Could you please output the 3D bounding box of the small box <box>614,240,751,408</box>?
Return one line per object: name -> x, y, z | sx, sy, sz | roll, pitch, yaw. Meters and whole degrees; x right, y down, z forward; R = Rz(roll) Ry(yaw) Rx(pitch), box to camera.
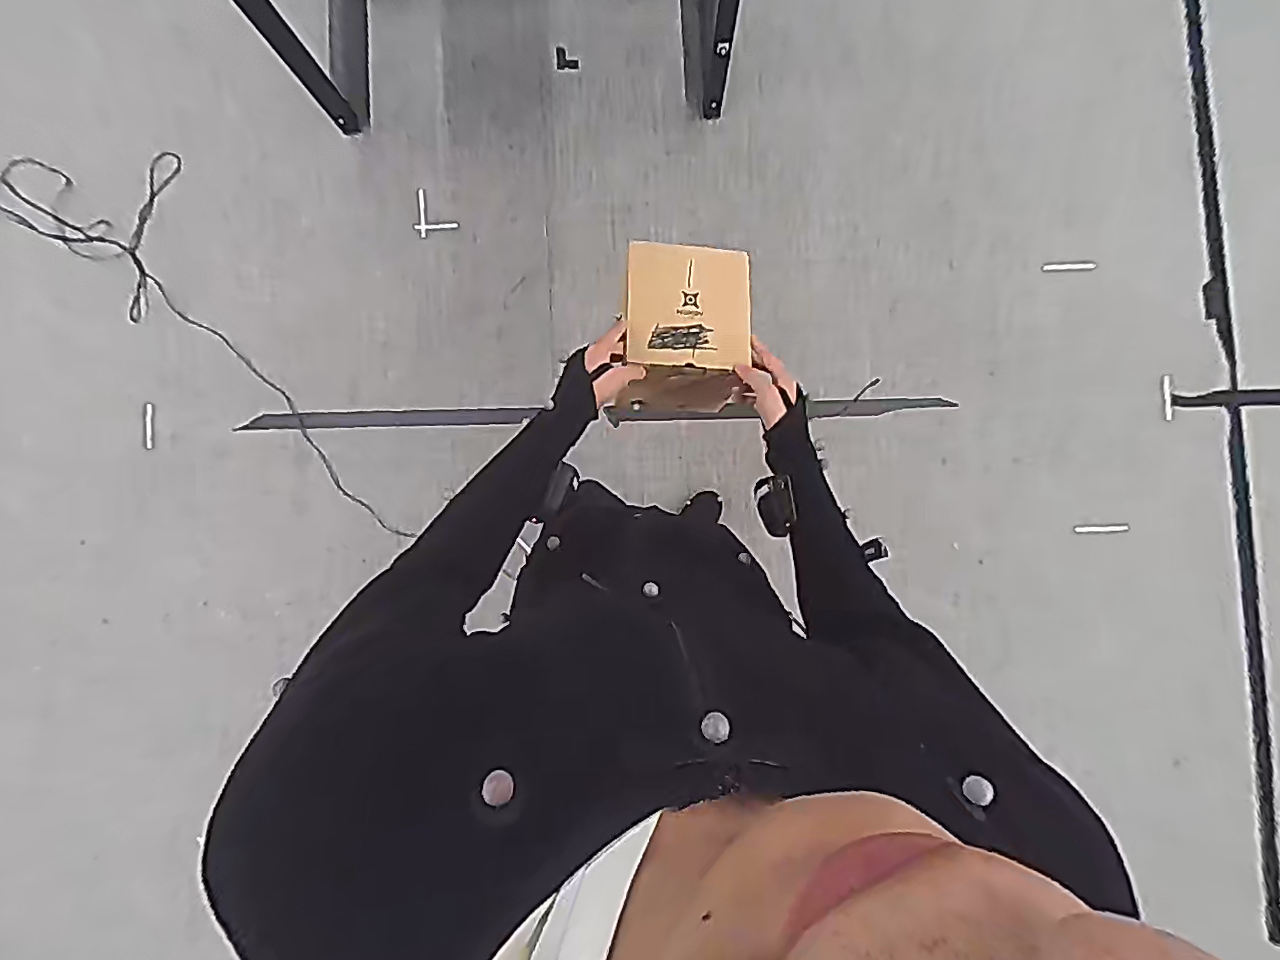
small box -> 0.053, -0.211, 0.777 | 0.168, 0.176, 0.179 | 2, 78, -8
